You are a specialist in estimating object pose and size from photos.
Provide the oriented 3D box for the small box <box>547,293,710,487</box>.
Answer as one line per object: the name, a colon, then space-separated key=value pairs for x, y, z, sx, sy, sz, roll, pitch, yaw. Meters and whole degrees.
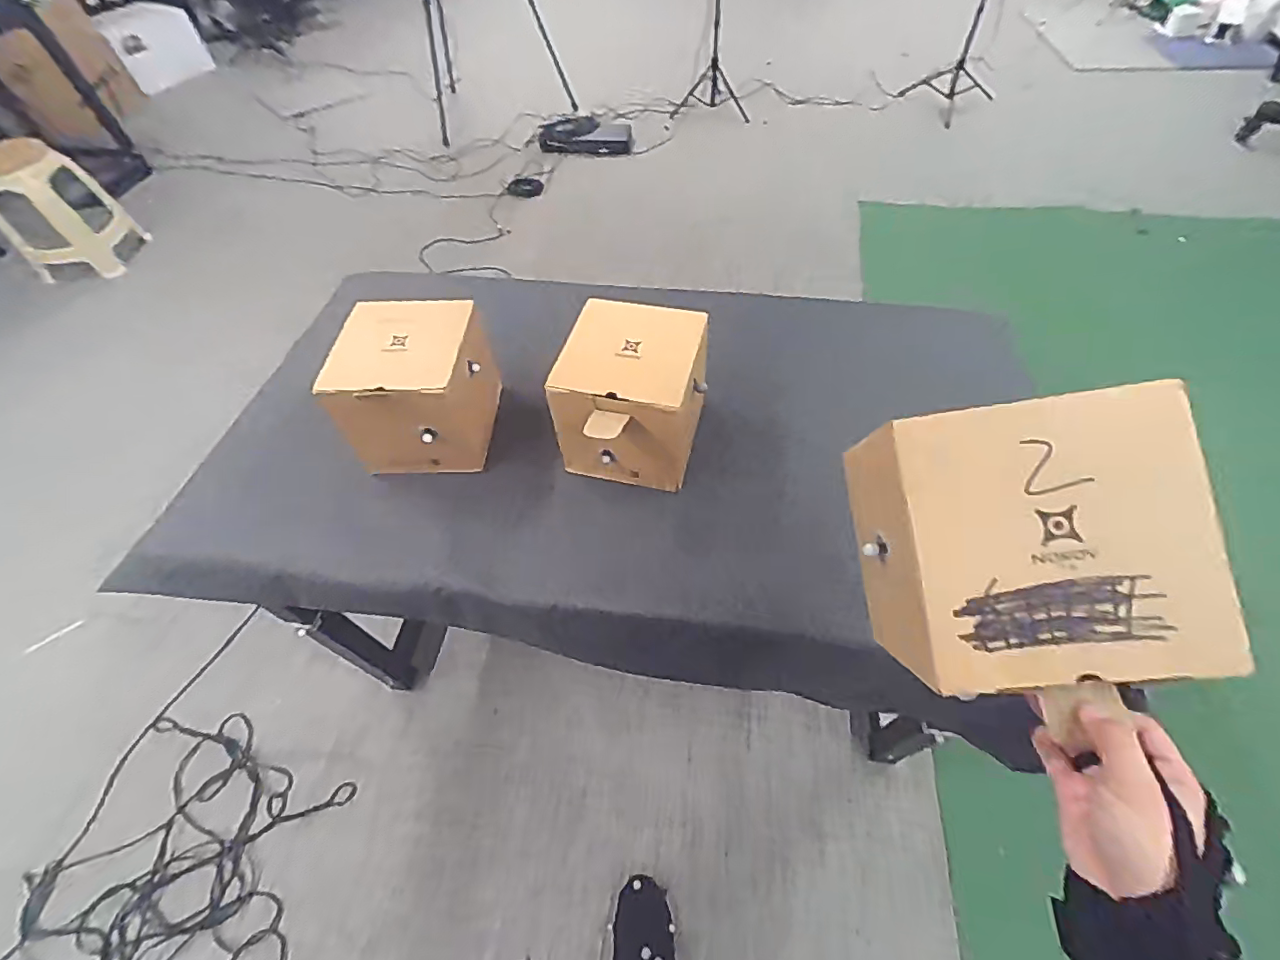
small box: x=-0.009 y=-0.119 z=0.724 sx=0.168 sy=0.176 sz=0.179 roll=11 pitch=56 yaw=10

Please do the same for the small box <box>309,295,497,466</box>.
small box: x=-0.307 y=-0.133 z=0.747 sx=0.168 sy=0.176 sz=0.179 roll=0 pitch=53 yaw=1
